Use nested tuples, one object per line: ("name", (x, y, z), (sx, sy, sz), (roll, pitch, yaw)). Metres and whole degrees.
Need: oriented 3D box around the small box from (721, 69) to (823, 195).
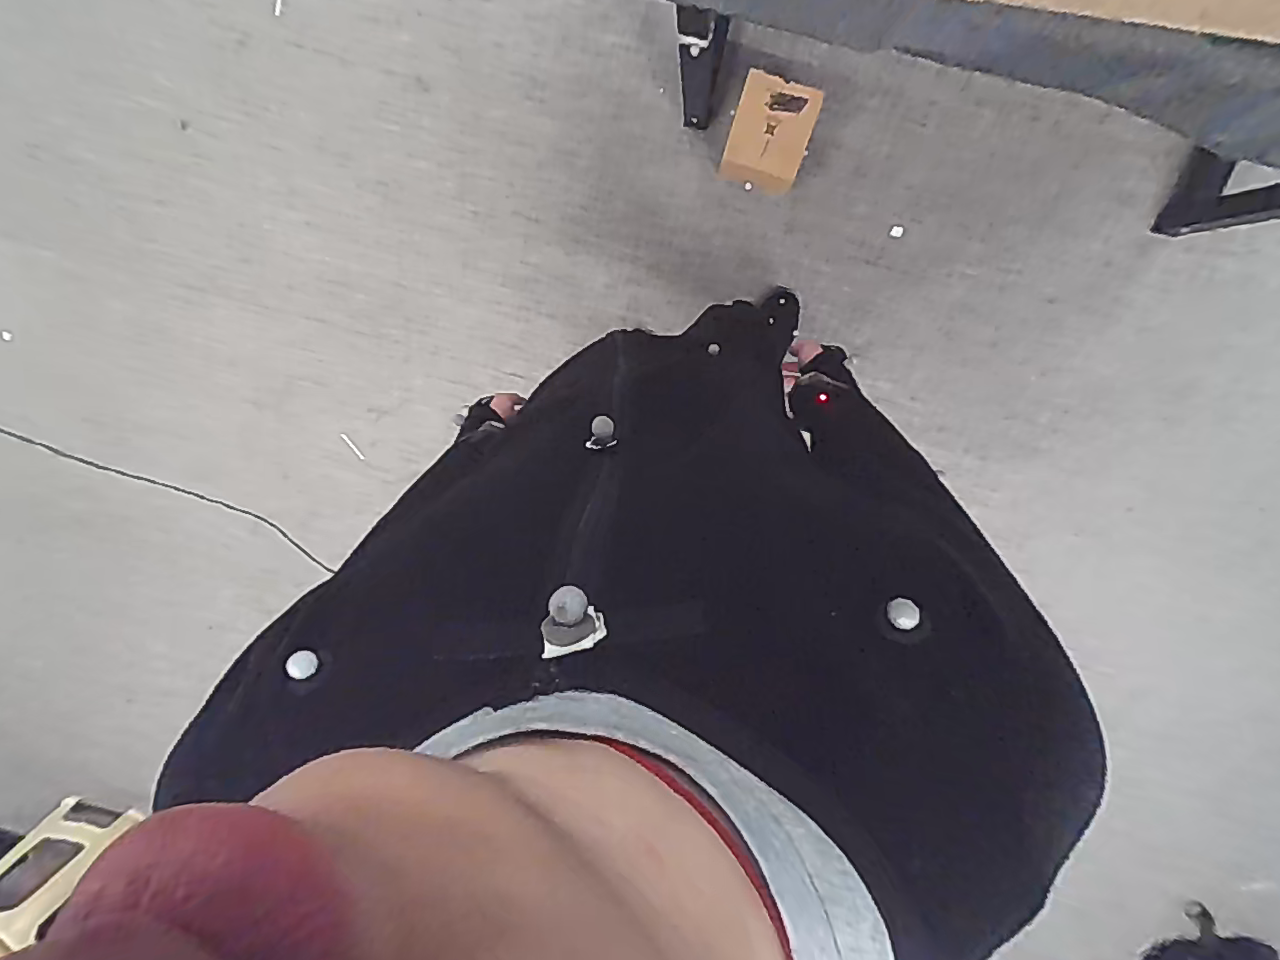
("small box", (0.287, -0.775, 1.223), (0.168, 0.176, 0.179), (19, 109, 1))
